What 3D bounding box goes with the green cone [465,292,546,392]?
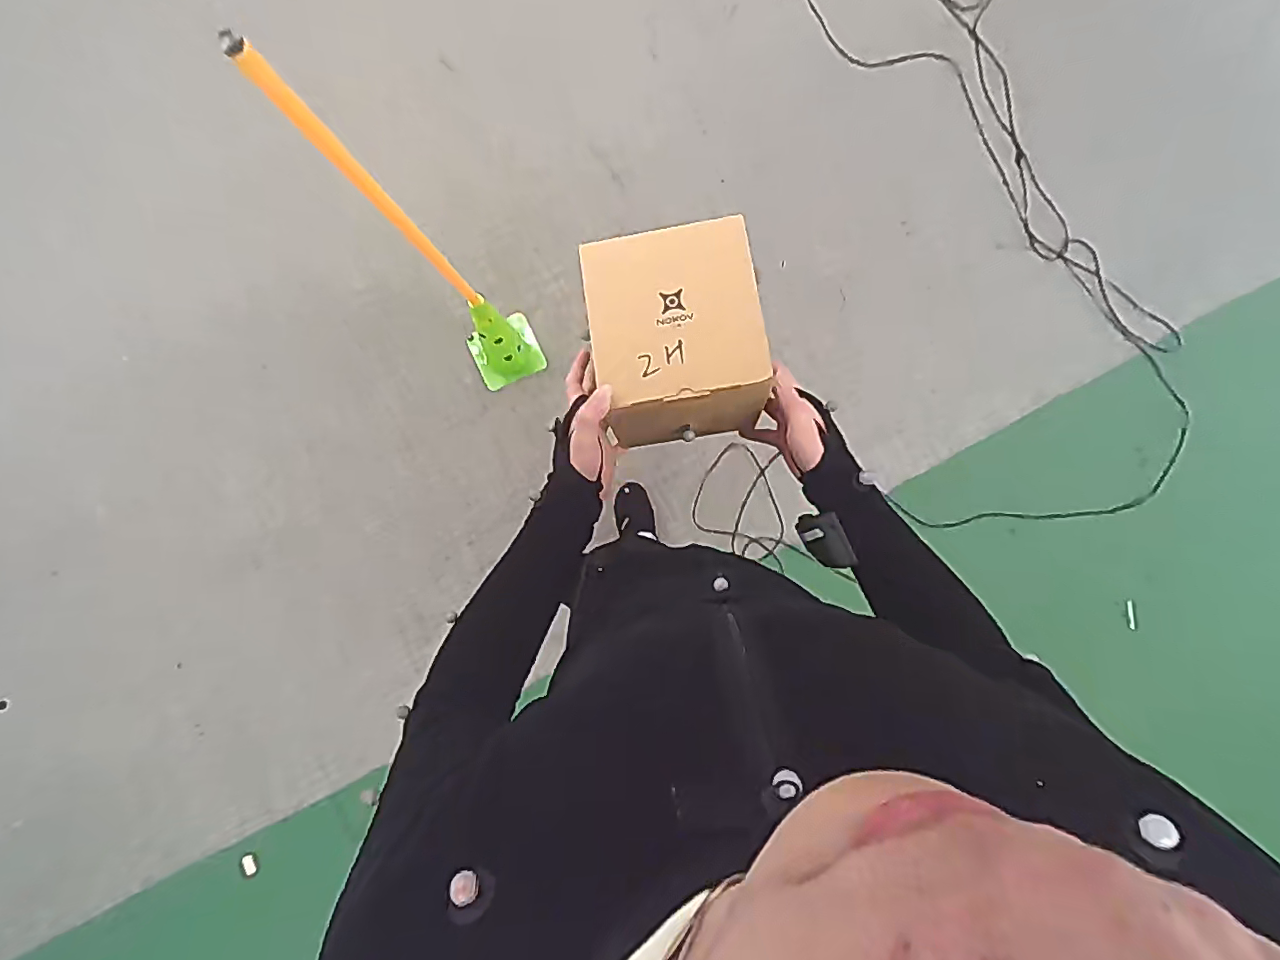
[{"bbox_3d":[-0.405,-0.411,1.492,0.202,0.368,0.200,-26,85,-6],"label":"green cone"}]
